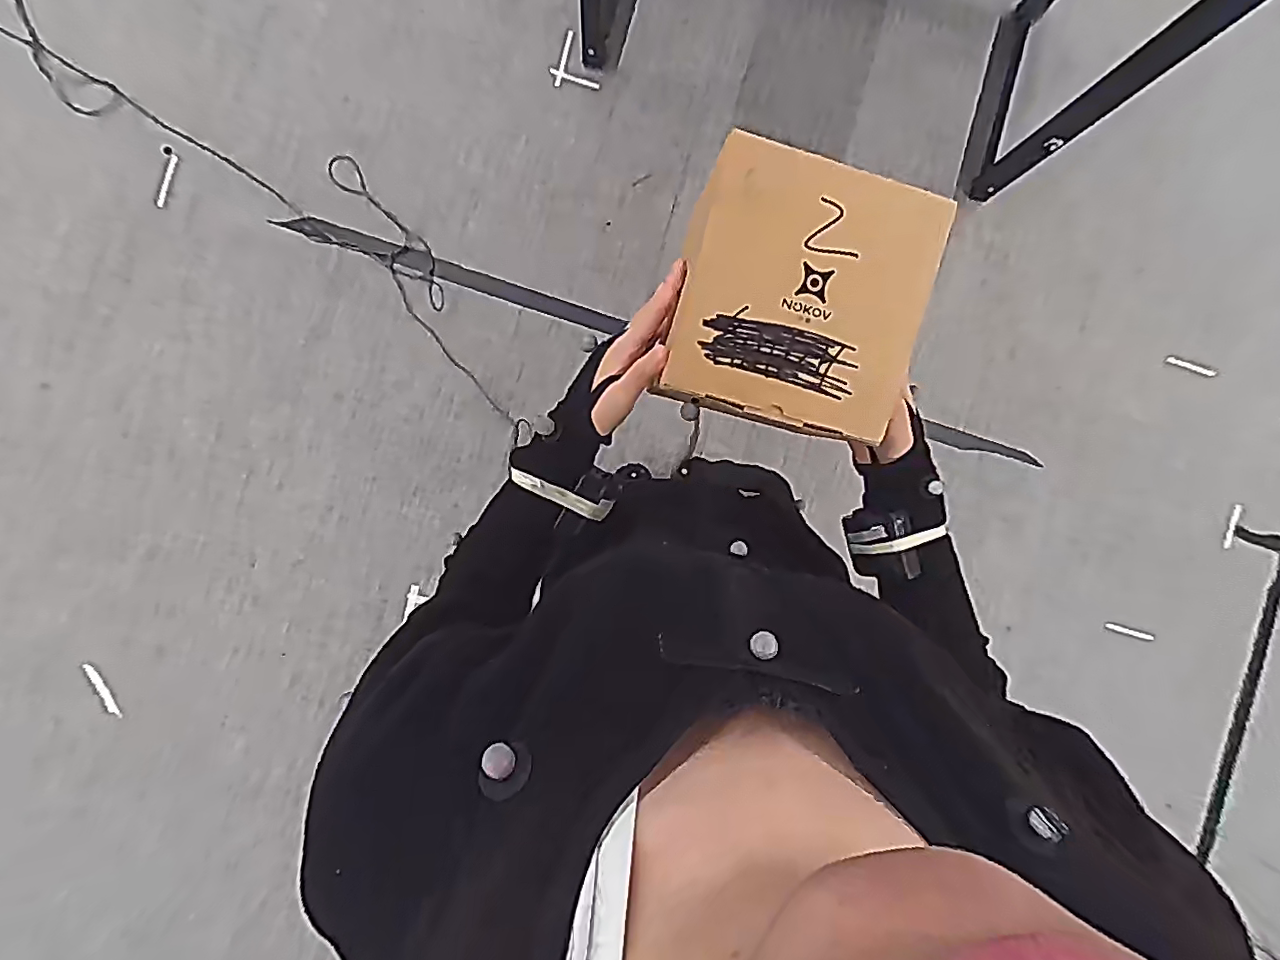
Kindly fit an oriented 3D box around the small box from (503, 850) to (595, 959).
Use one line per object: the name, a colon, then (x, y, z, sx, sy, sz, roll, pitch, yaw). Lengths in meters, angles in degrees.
small box: (-0.229, 1.107, 1.399, 0.179, 0.176, 0.168, 24, 89, -6)
